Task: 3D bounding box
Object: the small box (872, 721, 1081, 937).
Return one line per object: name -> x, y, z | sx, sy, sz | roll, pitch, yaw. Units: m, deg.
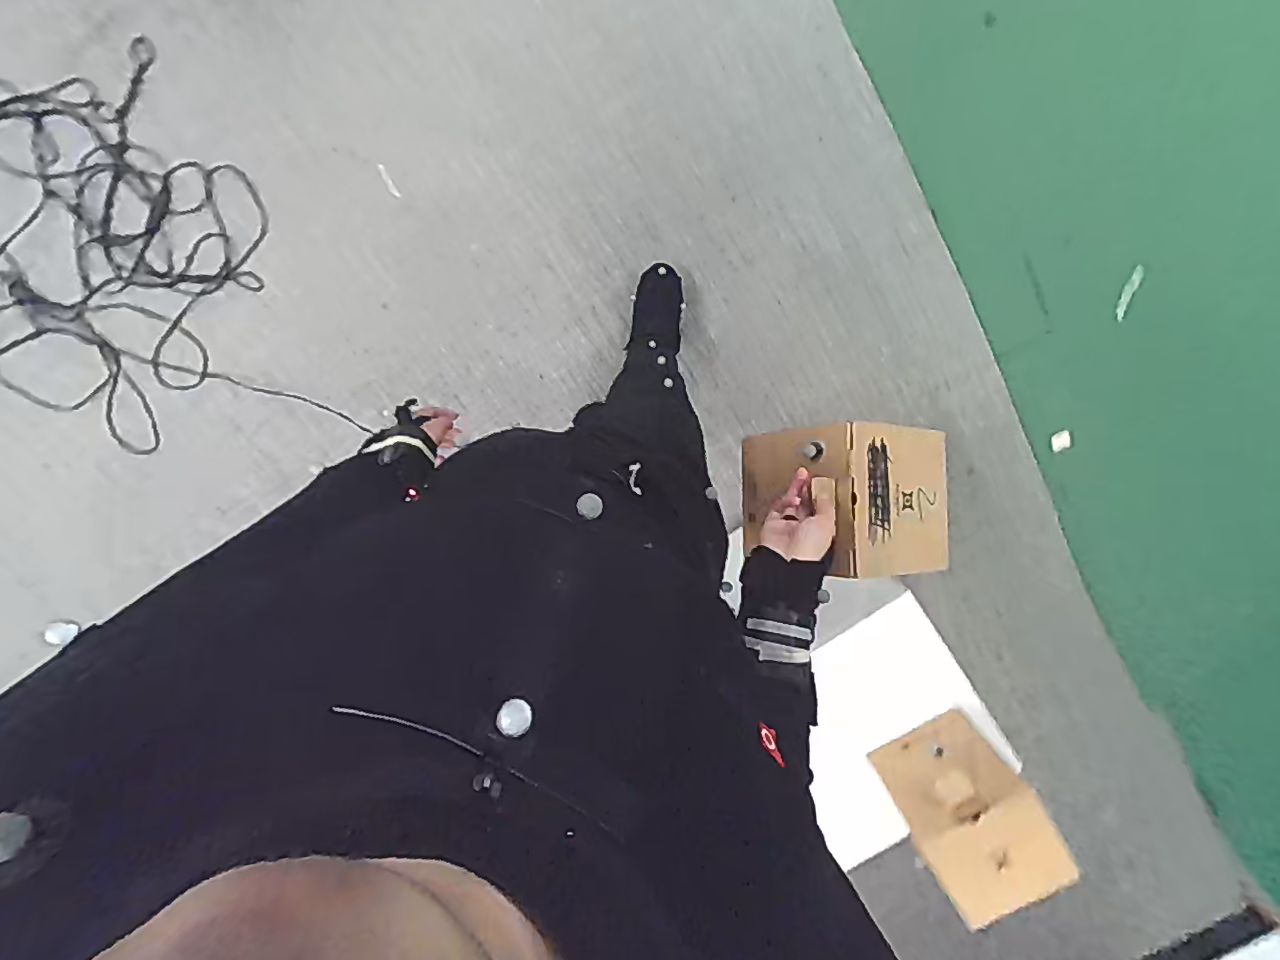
small box -> 0.478, 0.499, 0.793 | 0.168, 0.176, 0.179 | -32, 102, 6
